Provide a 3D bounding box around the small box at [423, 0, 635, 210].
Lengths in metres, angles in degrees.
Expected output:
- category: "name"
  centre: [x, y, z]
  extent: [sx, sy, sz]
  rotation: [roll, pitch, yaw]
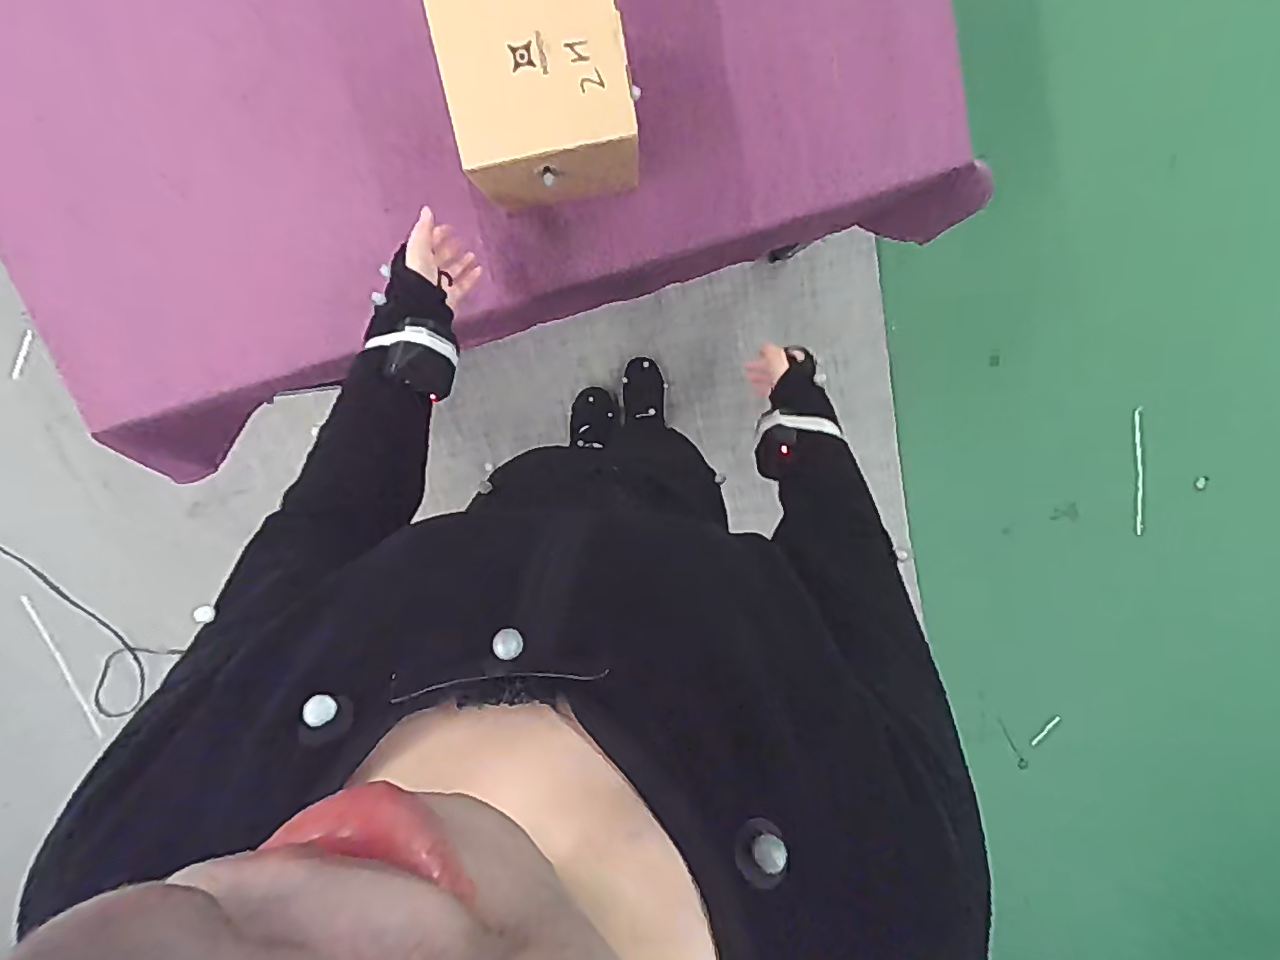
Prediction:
- category: "small box"
  centre: [-0.103, -0.412, 0.585]
  extent: [0.179, 0.176, 0.168]
  rotation: [-11, 103, 2]
